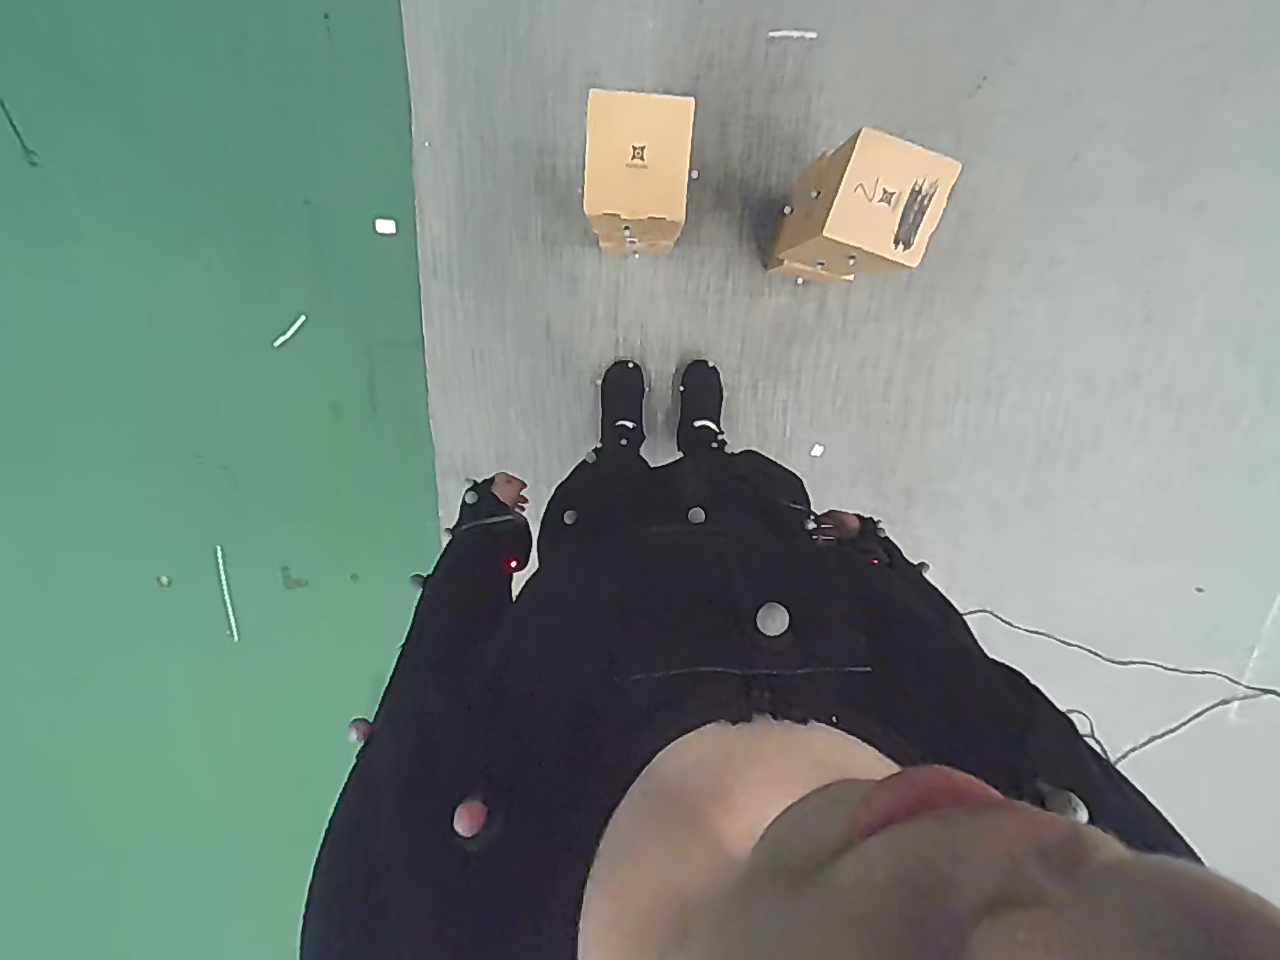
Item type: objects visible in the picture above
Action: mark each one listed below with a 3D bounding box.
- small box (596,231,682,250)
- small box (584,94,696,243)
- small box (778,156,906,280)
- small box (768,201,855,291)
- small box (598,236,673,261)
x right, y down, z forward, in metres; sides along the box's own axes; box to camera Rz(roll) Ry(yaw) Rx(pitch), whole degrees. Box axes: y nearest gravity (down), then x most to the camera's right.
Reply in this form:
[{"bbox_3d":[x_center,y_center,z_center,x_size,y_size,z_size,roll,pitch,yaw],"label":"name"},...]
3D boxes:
[{"bbox_3d":[-0.005,-0.566,1.077,0.168,0.176,0.179,-2,106,1],"label":"small box"},{"bbox_3d":[-0.004,-0.518,0.921,0.168,0.176,0.179,4,106,-1],"label":"small box"},{"bbox_3d":[0.394,-0.515,1.095,0.168,0.176,0.179,15,106,-5],"label":"small box"},{"bbox_3d":[0.411,-0.548,1.255,0.168,0.176,0.179,12,106,-4],"label":"small box"},{"bbox_3d":[-0.013,-0.606,1.233,0.168,0.176,0.179,-2,106,0],"label":"small box"}]
